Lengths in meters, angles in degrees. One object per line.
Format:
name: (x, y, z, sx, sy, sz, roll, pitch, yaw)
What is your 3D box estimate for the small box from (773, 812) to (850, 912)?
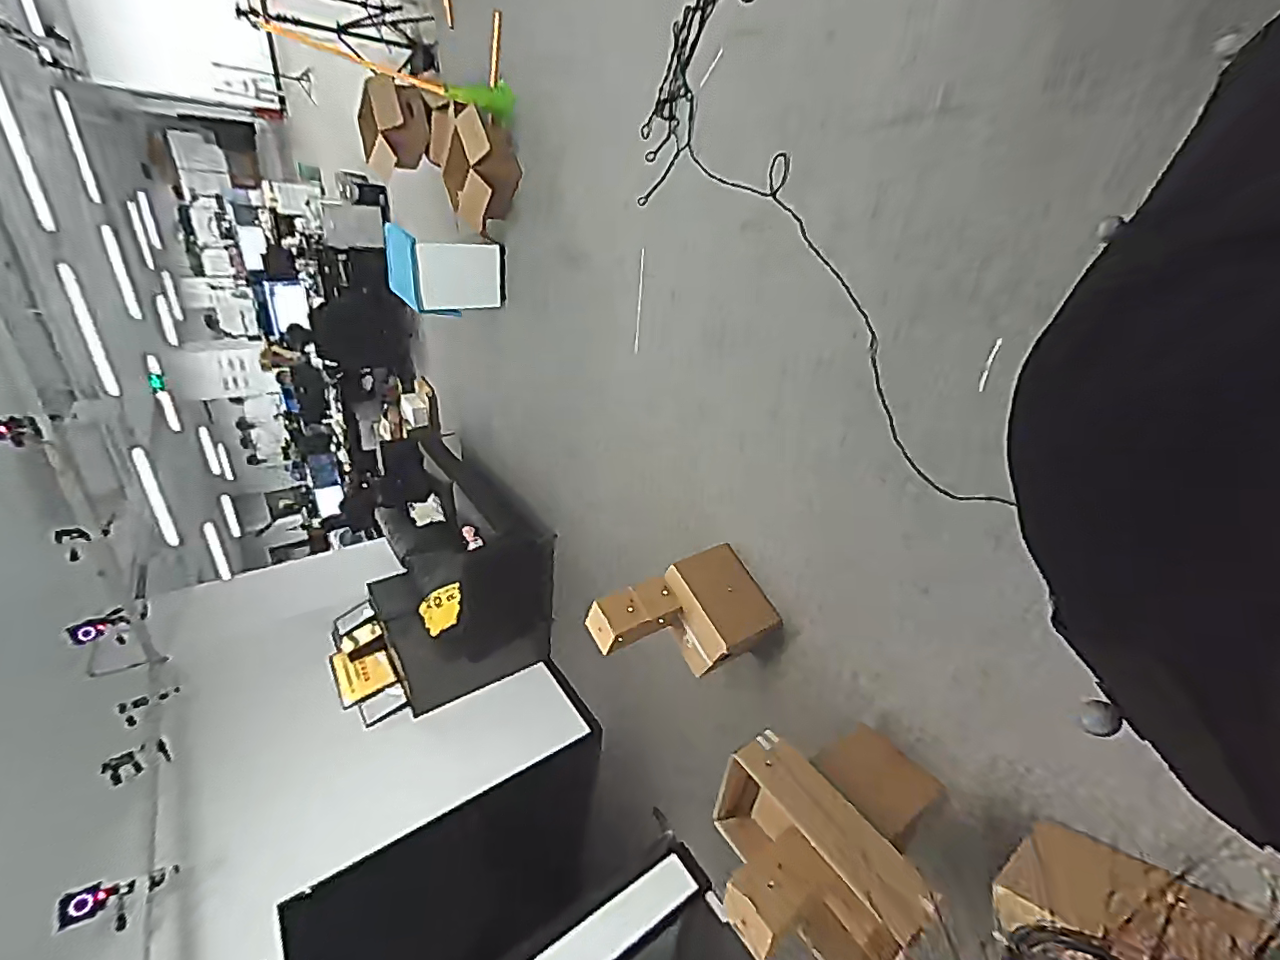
small box: (0.511, 1.167, 1.645, 0.168, 0.176, 0.179, 36, 130, 43)

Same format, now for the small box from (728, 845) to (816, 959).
small box: (0.381, 1.203, 1.552, 0.168, 0.176, 0.179, 34, 128, 46)

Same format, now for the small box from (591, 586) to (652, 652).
small box: (-0.074, 0.556, 2.168, 0.168, 0.176, 0.179, 53, 141, 30)
